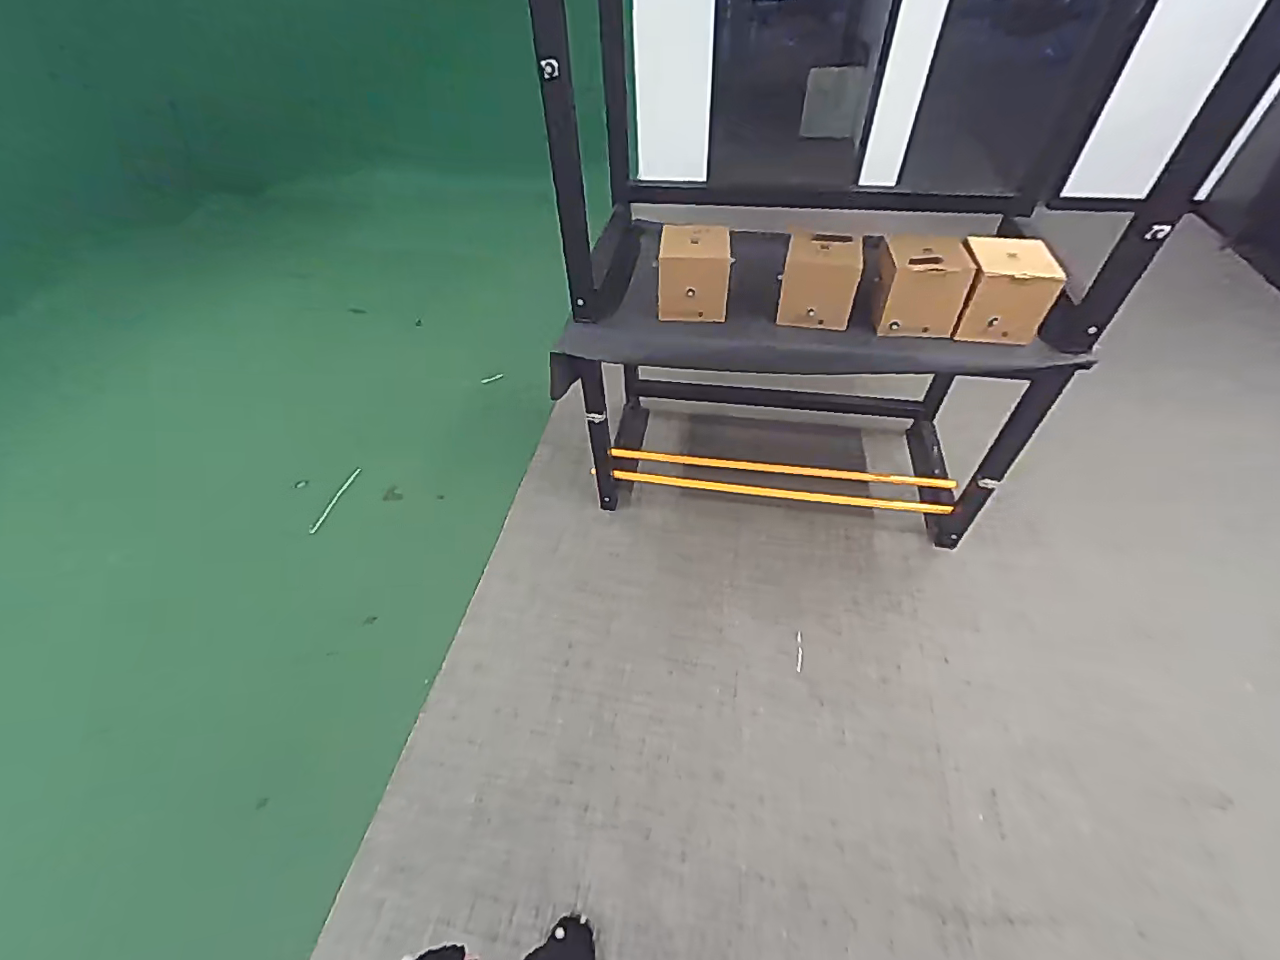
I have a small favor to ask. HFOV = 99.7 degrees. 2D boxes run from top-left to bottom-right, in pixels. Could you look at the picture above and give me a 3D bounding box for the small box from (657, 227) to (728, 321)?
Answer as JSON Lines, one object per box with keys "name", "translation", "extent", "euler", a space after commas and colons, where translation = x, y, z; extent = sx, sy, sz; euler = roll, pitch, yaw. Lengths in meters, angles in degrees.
{"name": "small box", "translation": [0.133, -0.513, 1.353], "extent": [0.168, 0.176, 0.179], "euler": [3, 47, 5]}
